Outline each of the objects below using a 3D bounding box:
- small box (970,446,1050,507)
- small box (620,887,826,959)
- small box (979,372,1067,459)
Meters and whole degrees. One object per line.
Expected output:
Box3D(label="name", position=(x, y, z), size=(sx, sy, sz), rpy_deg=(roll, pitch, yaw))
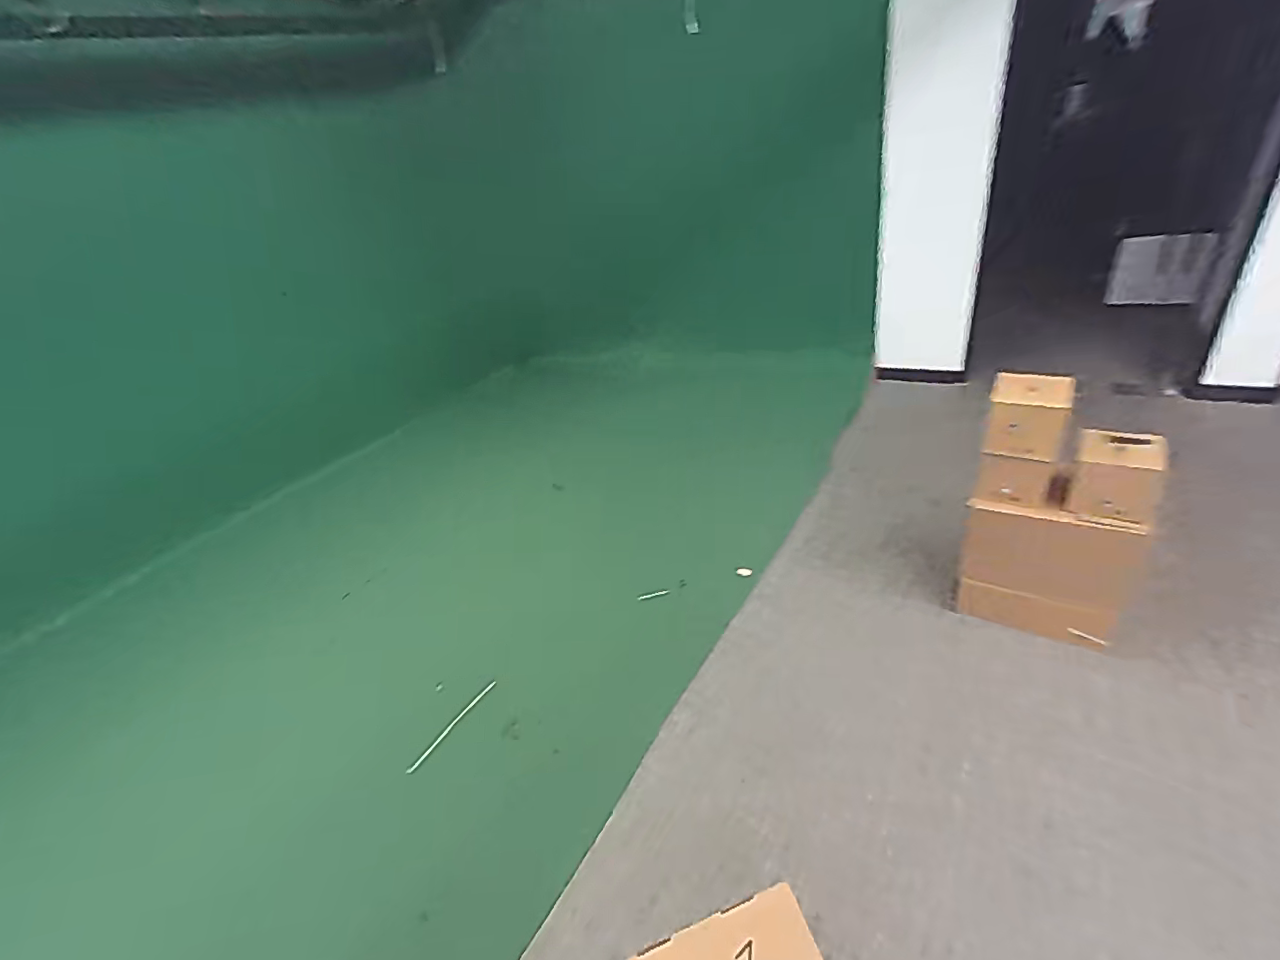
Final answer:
Box3D(label="small box", position=(1.080, -0.051, 1.575), size=(0.168, 0.176, 0.179), rpy_deg=(14, 44, 33))
Box3D(label="small box", position=(0.095, 0.474, 0.438), size=(0.168, 0.176, 0.179), rpy_deg=(-21, 43, -4))
Box3D(label="small box", position=(1.042, -0.176, 1.478), size=(0.168, 0.176, 0.179), rpy_deg=(13, 42, 33))
